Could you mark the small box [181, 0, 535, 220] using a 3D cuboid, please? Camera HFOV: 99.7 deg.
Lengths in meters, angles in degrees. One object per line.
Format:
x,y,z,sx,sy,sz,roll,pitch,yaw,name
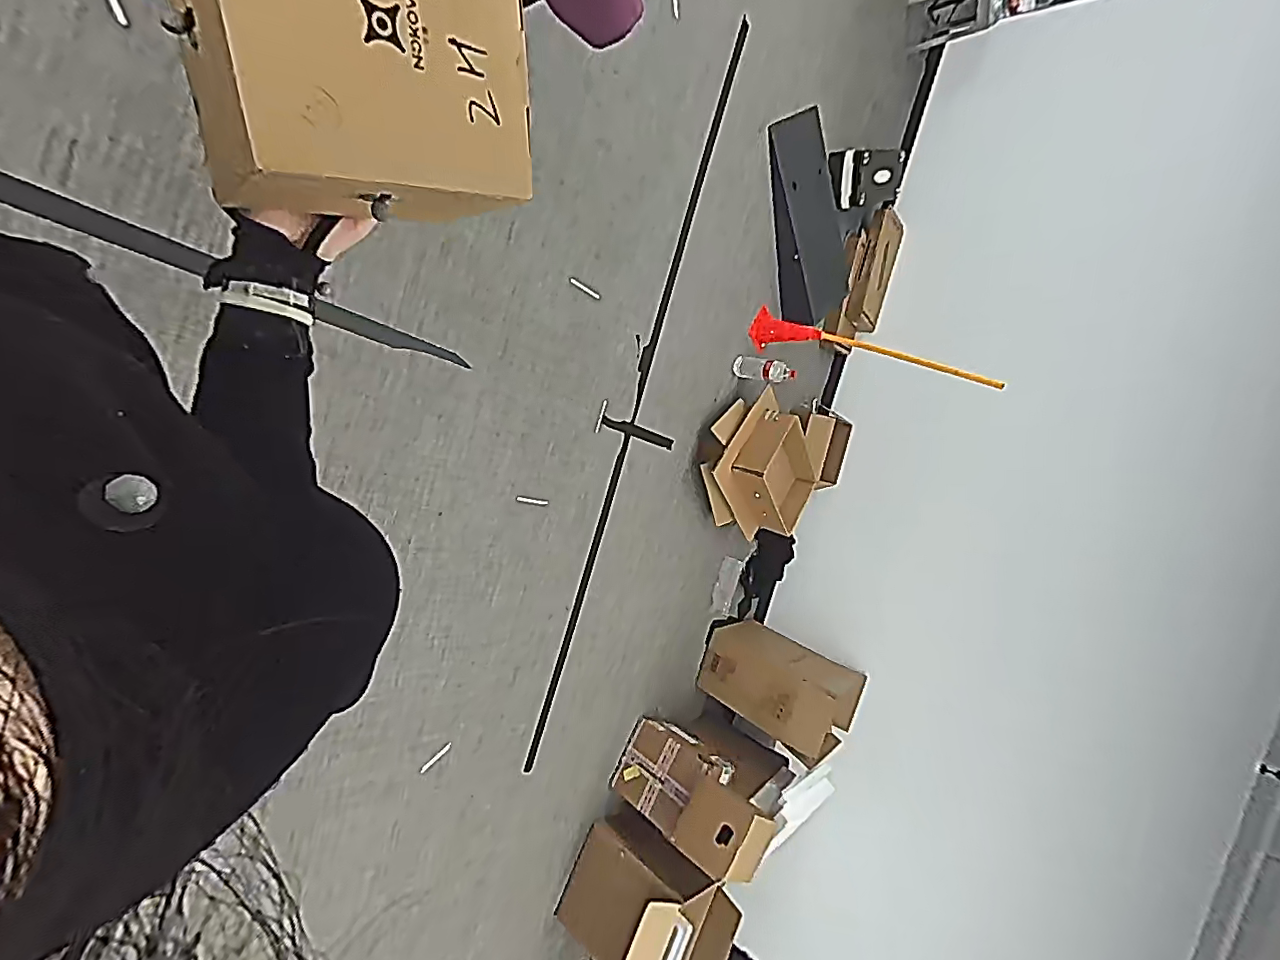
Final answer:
-0.196,-0.283,0.376,0.179,0.176,0.168,-17,116,-39,small box
